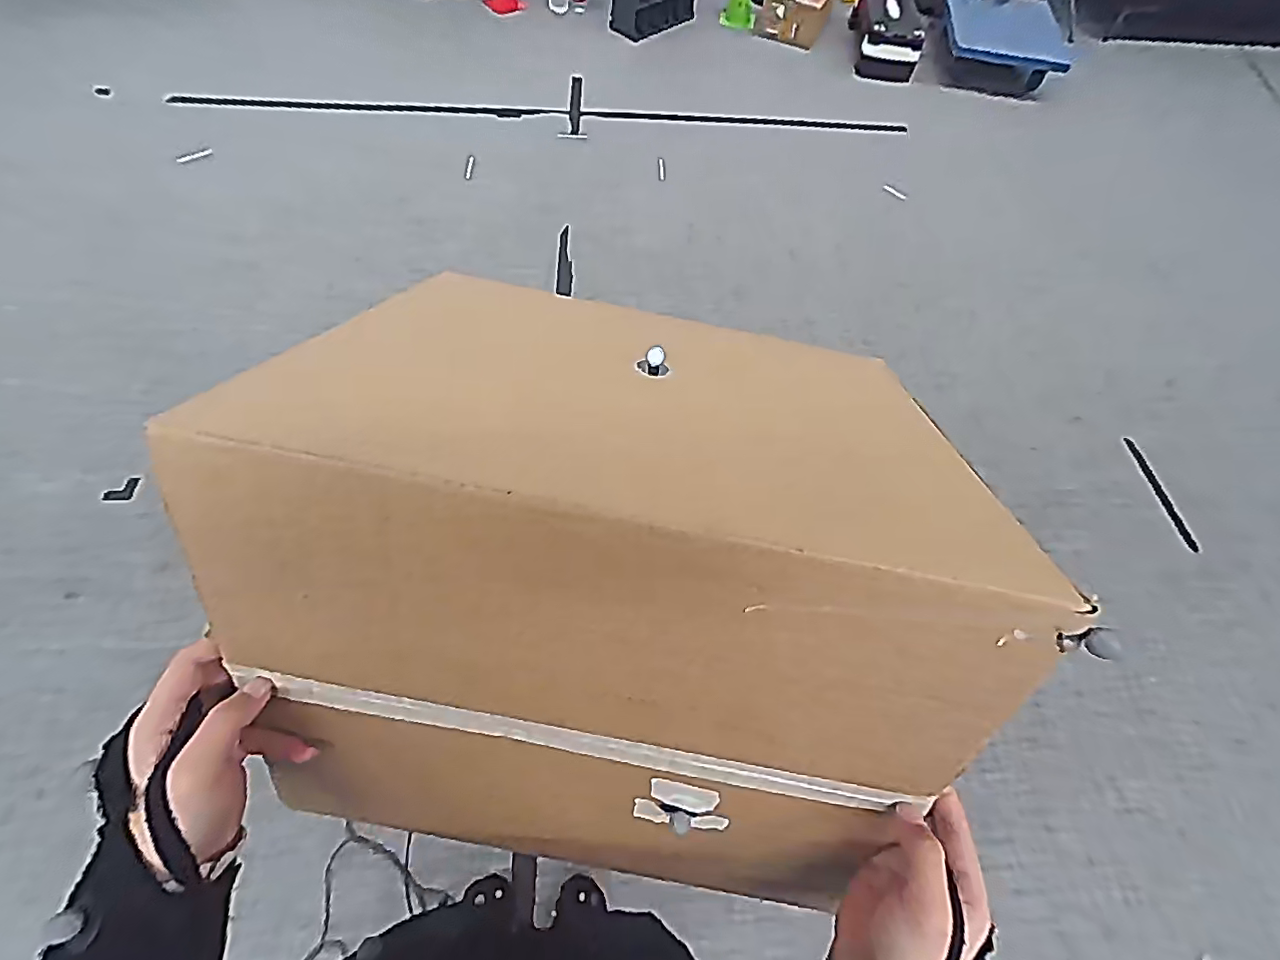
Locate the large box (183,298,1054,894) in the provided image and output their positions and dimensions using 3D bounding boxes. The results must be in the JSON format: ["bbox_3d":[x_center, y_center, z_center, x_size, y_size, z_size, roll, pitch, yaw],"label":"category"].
[{"bbox_3d":[-0.020,0.067,0.444,0.408,0.320,0.320,10,33,-1],"label":"large box"}]
